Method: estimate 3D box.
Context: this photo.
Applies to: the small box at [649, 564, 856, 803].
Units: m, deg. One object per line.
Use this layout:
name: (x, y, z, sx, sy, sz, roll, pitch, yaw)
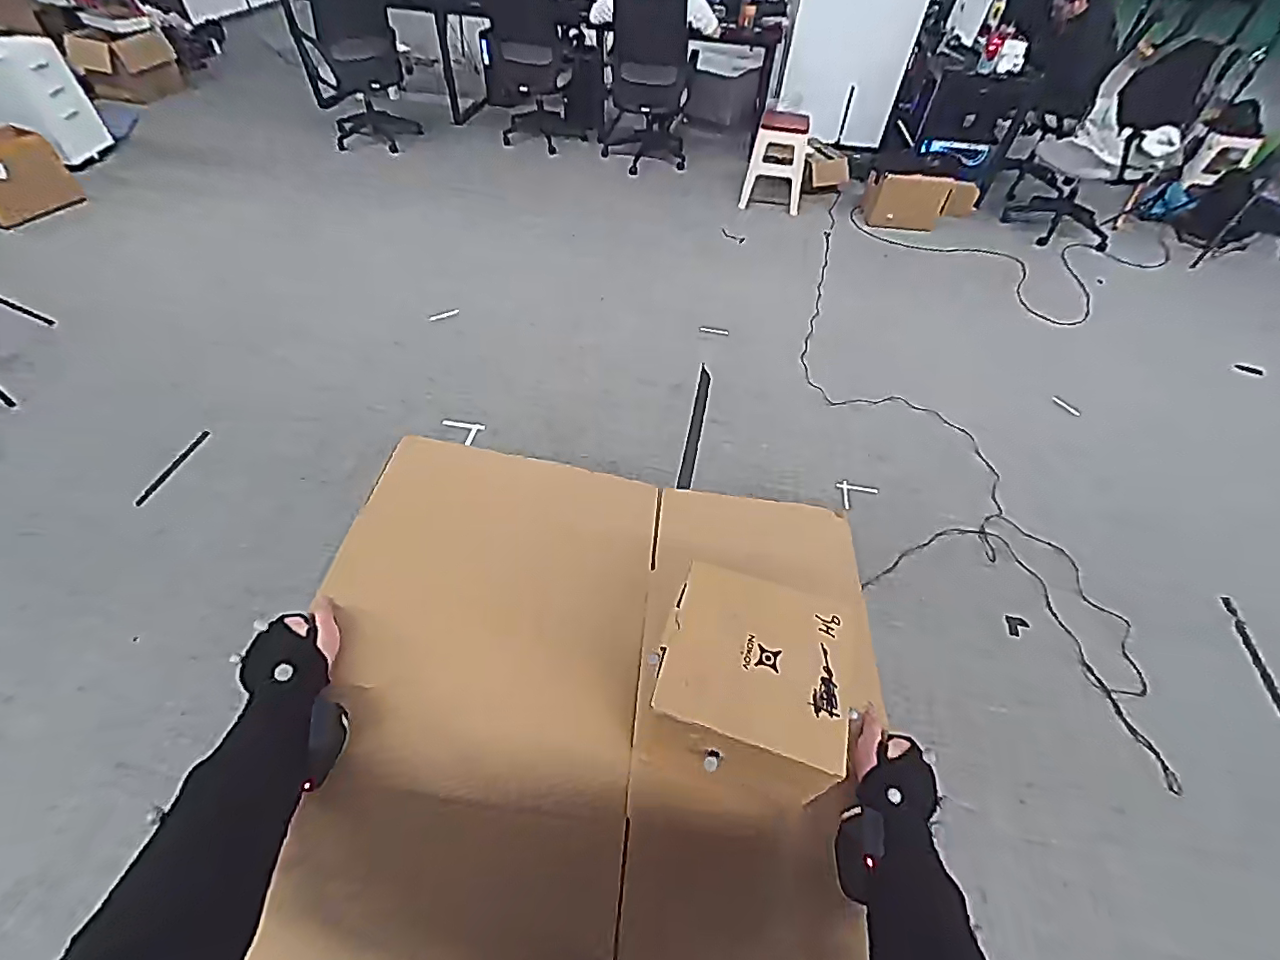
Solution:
small box: (0.114, 0.222, 0.584, 0.179, 0.176, 0.168, 15, 50, 9)
